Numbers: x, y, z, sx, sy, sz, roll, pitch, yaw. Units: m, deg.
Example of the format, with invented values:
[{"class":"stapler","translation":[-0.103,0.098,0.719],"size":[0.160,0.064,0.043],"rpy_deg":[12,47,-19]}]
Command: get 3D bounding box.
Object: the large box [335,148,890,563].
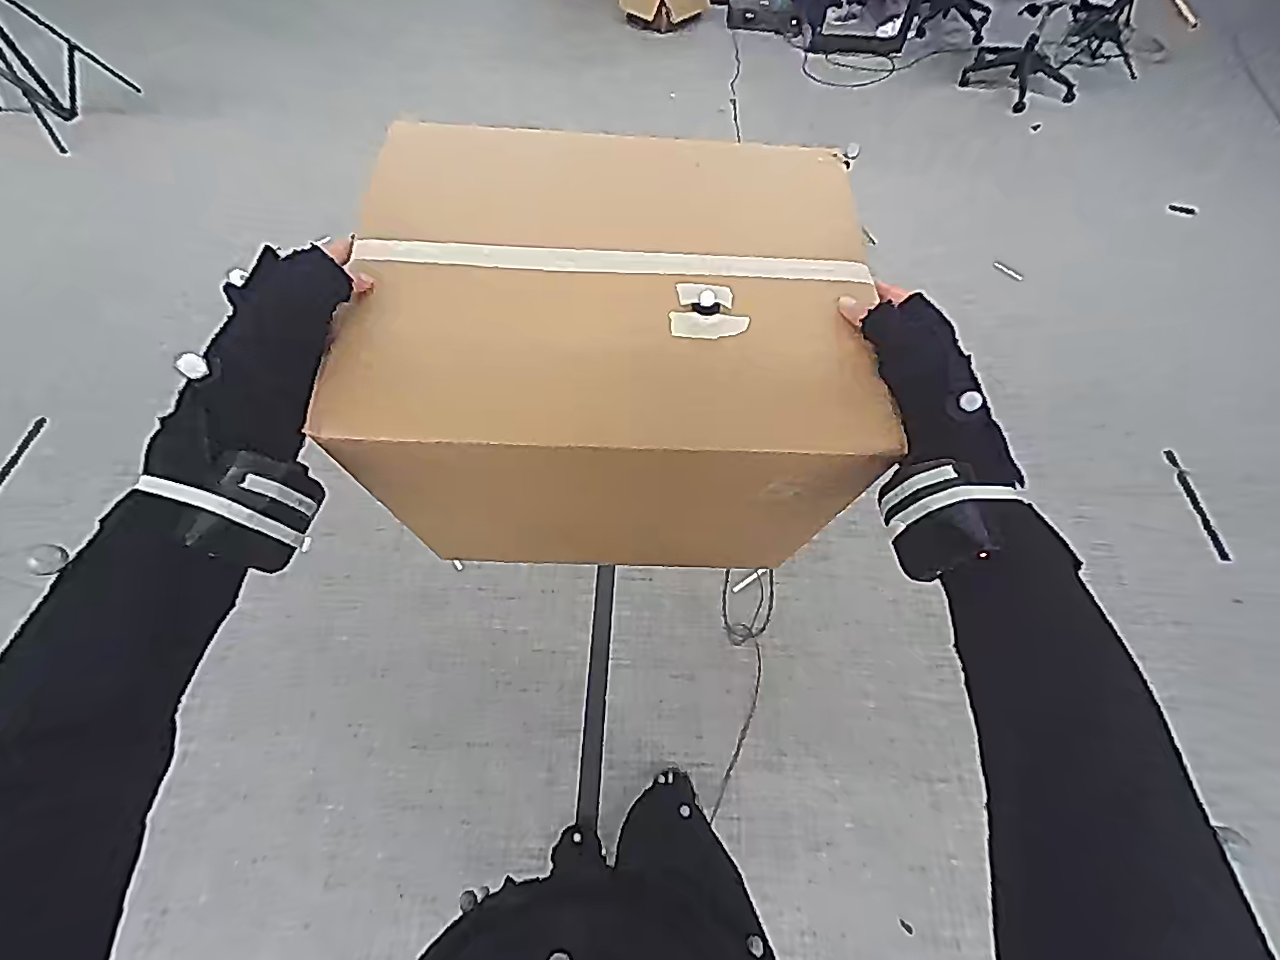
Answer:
[{"class":"large box","translation":[-0.025,-0.101,0.577],"size":[0.408,0.320,0.320],"rpy_deg":[2,66,-3]}]
